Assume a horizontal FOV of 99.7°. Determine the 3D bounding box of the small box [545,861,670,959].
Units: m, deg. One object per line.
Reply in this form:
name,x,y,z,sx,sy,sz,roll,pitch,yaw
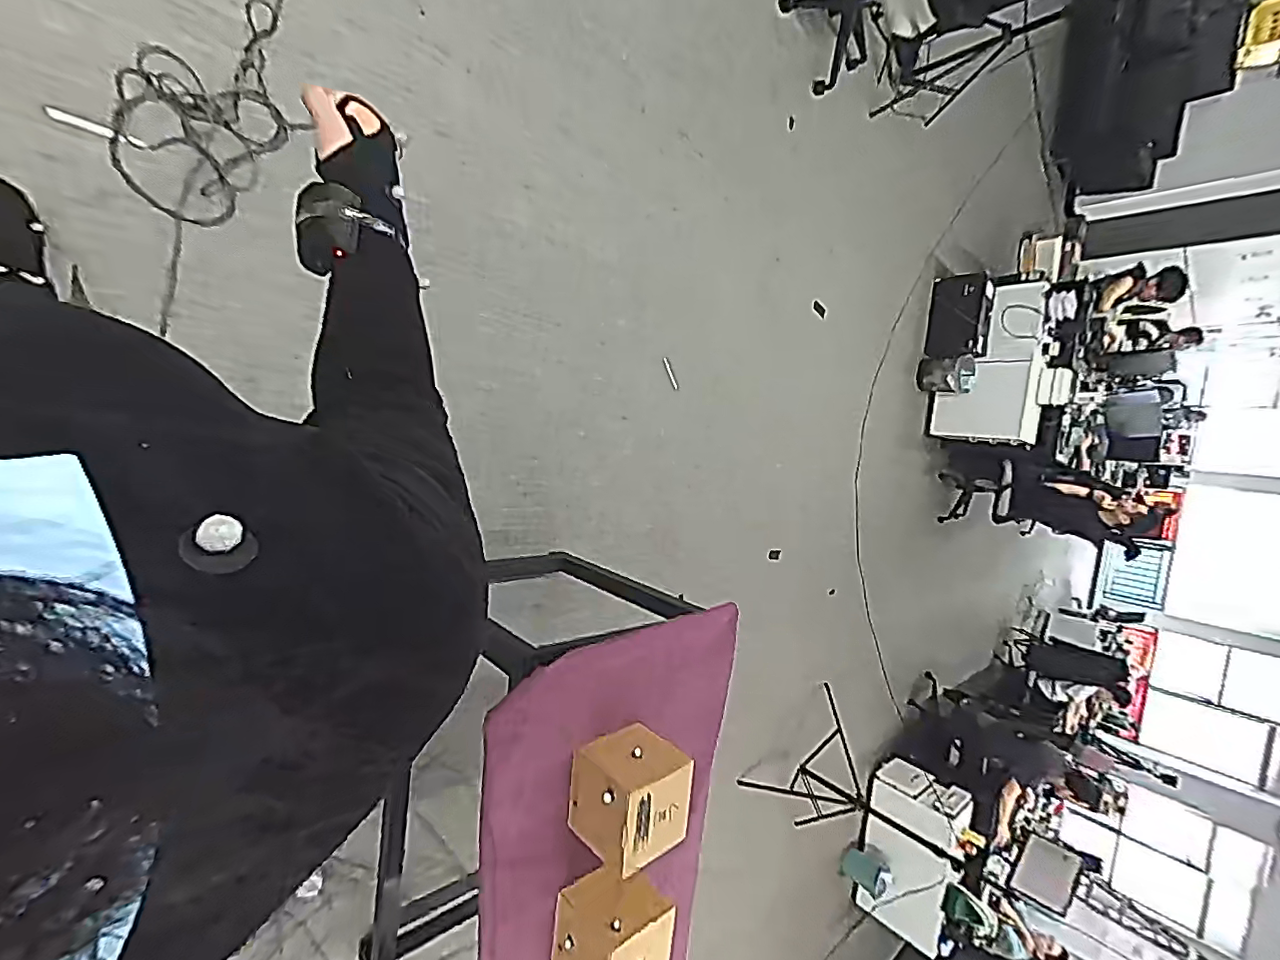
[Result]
small box,-0.067,0.926,1.093,0.179,0.176,0.168,3,96,-43
